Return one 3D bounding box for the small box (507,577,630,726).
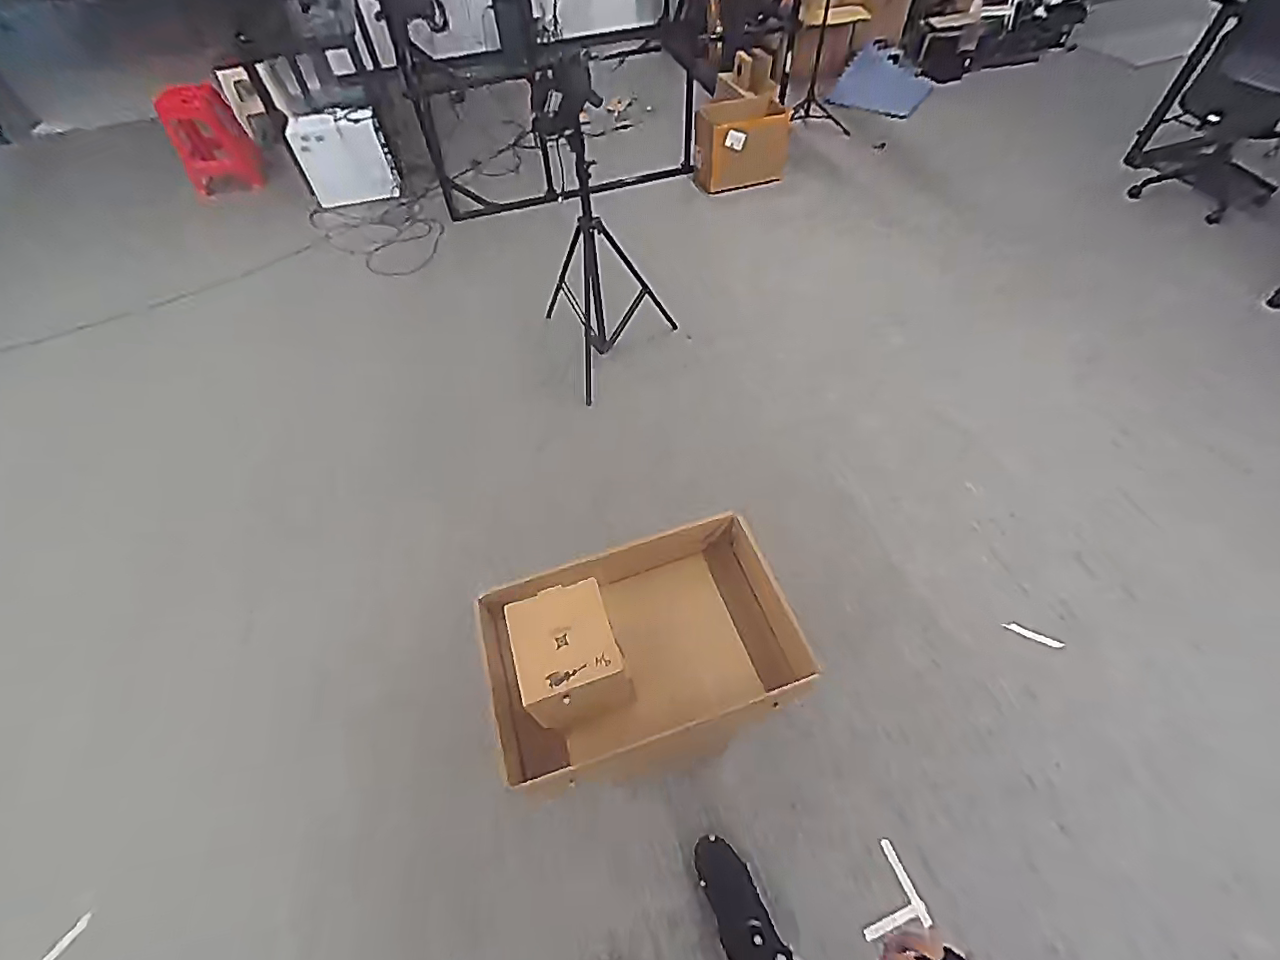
[{"bbox_3d":[-0.123,0.304,0.953,0.168,0.176,0.179,-17,54,-8],"label":"small box"}]

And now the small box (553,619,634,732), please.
[{"bbox_3d":[-0.119,0.384,1.096,0.179,0.176,0.168,-21,55,-11],"label":"small box"}]
